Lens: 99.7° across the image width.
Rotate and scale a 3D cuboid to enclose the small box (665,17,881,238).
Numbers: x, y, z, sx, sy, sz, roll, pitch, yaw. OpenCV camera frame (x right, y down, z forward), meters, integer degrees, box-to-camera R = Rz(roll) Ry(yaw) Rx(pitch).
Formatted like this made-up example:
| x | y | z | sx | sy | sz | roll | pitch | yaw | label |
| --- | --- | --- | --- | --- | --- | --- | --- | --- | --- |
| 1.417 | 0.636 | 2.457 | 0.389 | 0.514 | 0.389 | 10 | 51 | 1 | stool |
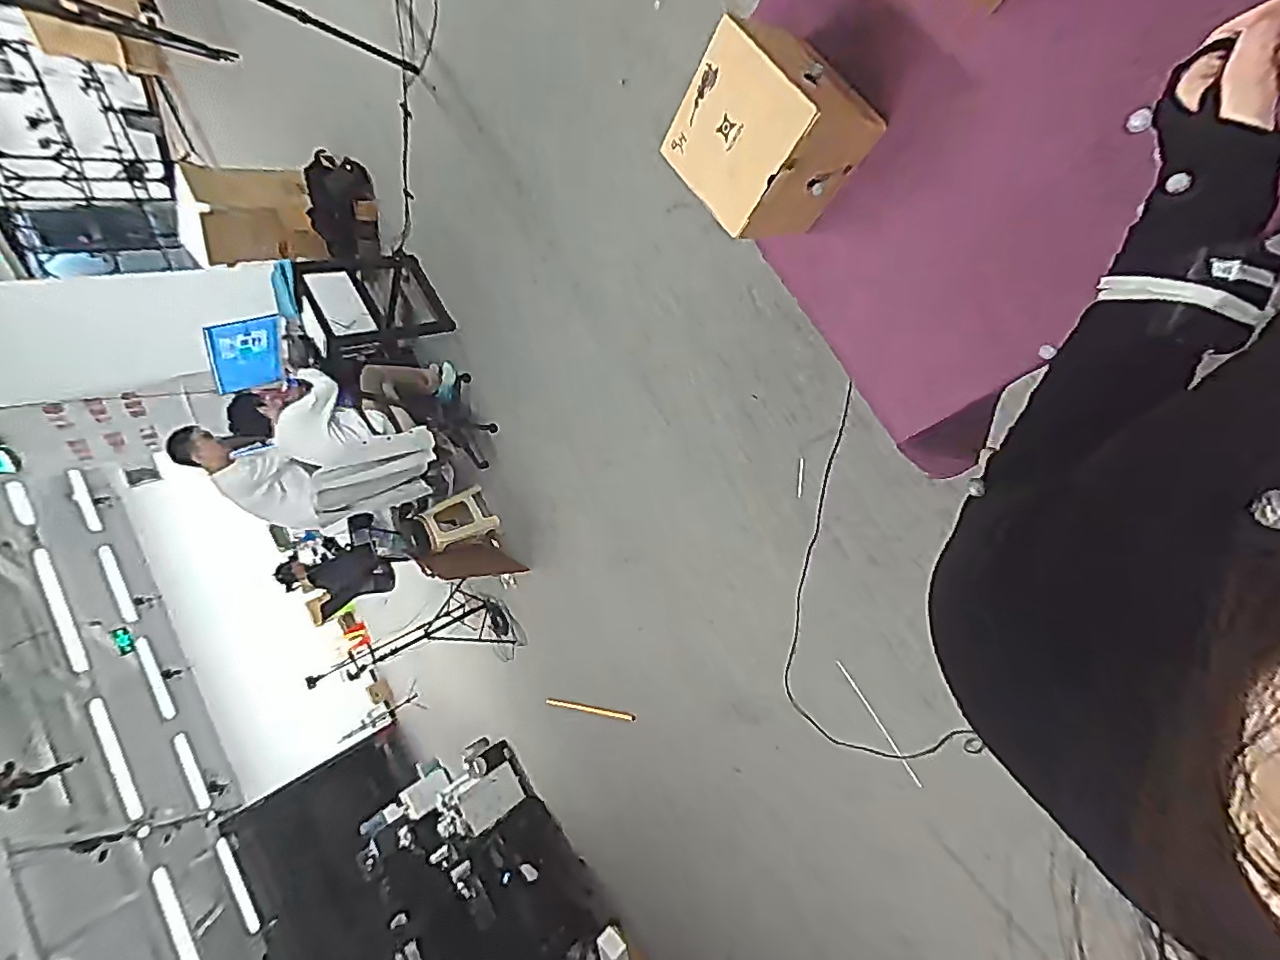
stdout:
| x | y | z | sx | sy | sz | roll | pitch | yaw | label |
| --- | --- | --- | --- | --- | --- | --- | --- | --- | --- |
| 0.173 | -0.447 | 0.703 | 0.179 | 0.176 | 0.168 | 55 | 141 | 13 | small box |
